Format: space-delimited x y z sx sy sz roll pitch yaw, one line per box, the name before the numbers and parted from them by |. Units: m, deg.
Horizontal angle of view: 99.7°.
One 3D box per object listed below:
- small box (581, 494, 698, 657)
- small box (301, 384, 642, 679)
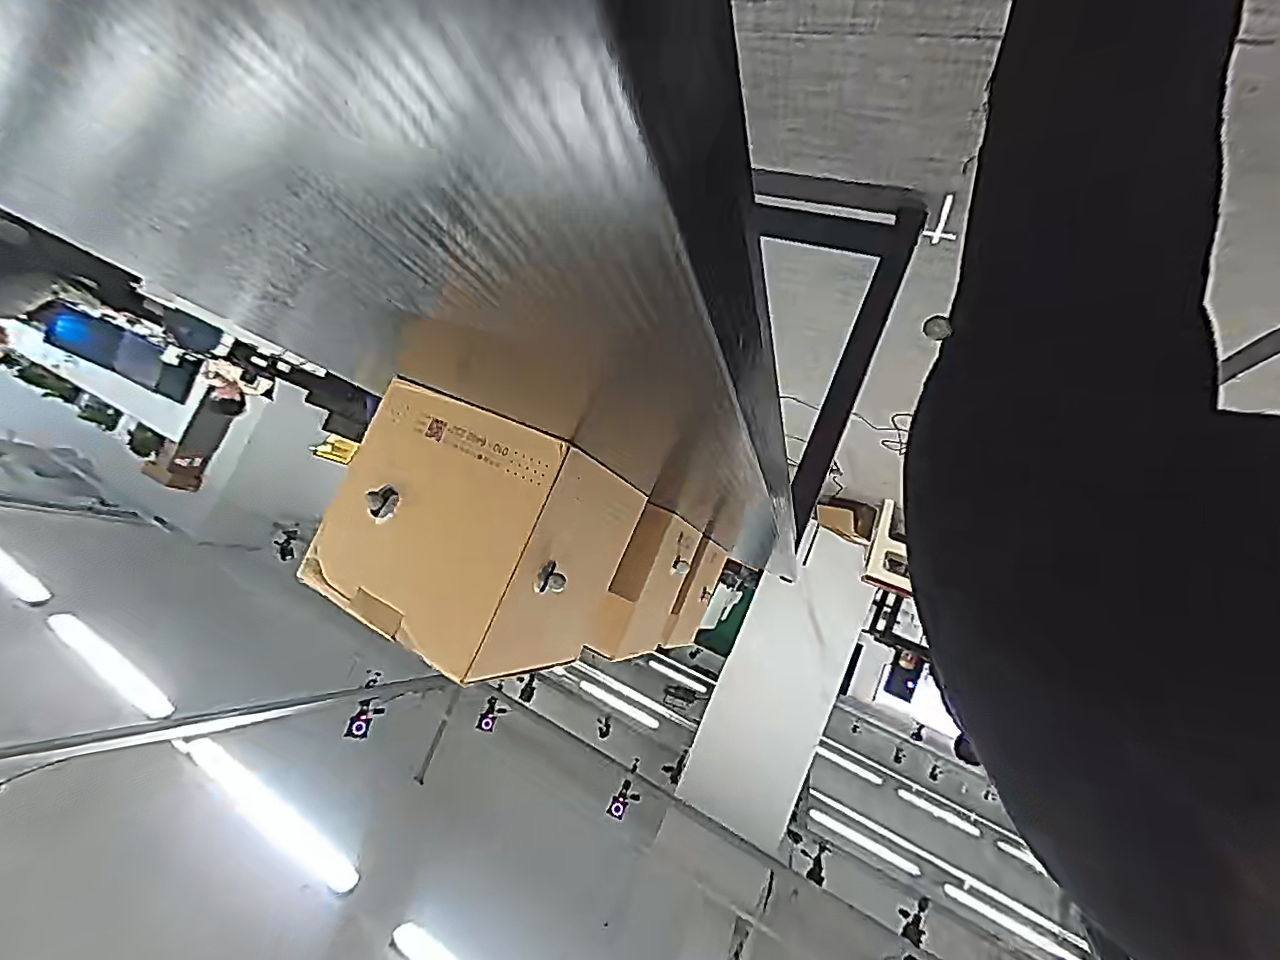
small box | -0.050 0.095 0.662 0.179 0.176 0.168 21 174 21
small box | -0.121 0.040 0.448 0.168 0.176 0.179 22 176 22
